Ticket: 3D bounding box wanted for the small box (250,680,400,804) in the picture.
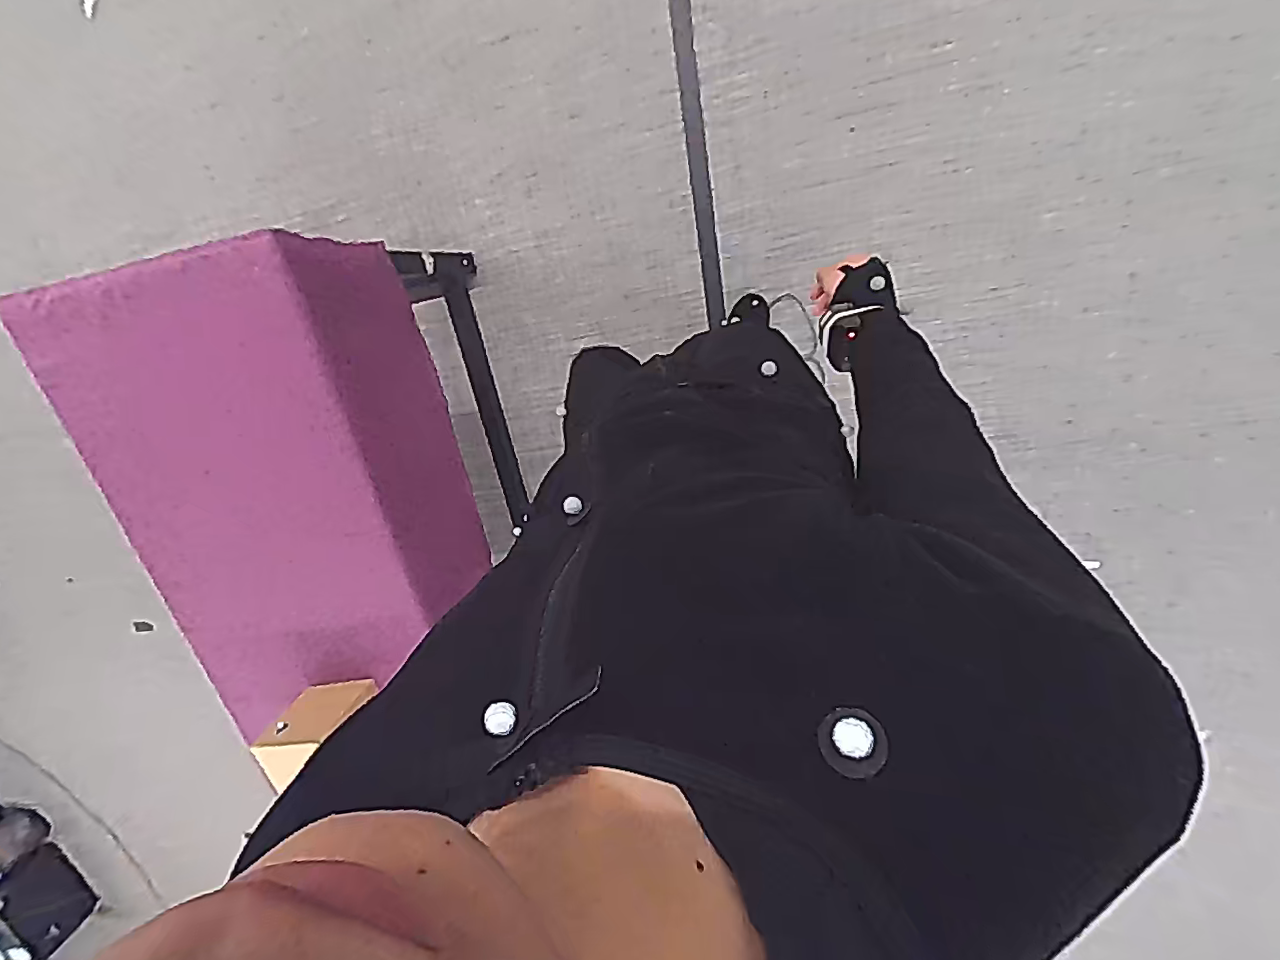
[{"bbox_3d":[-0.647,0.543,1.131,0.179,0.176,0.168,-11,110,13],"label":"small box"}]
